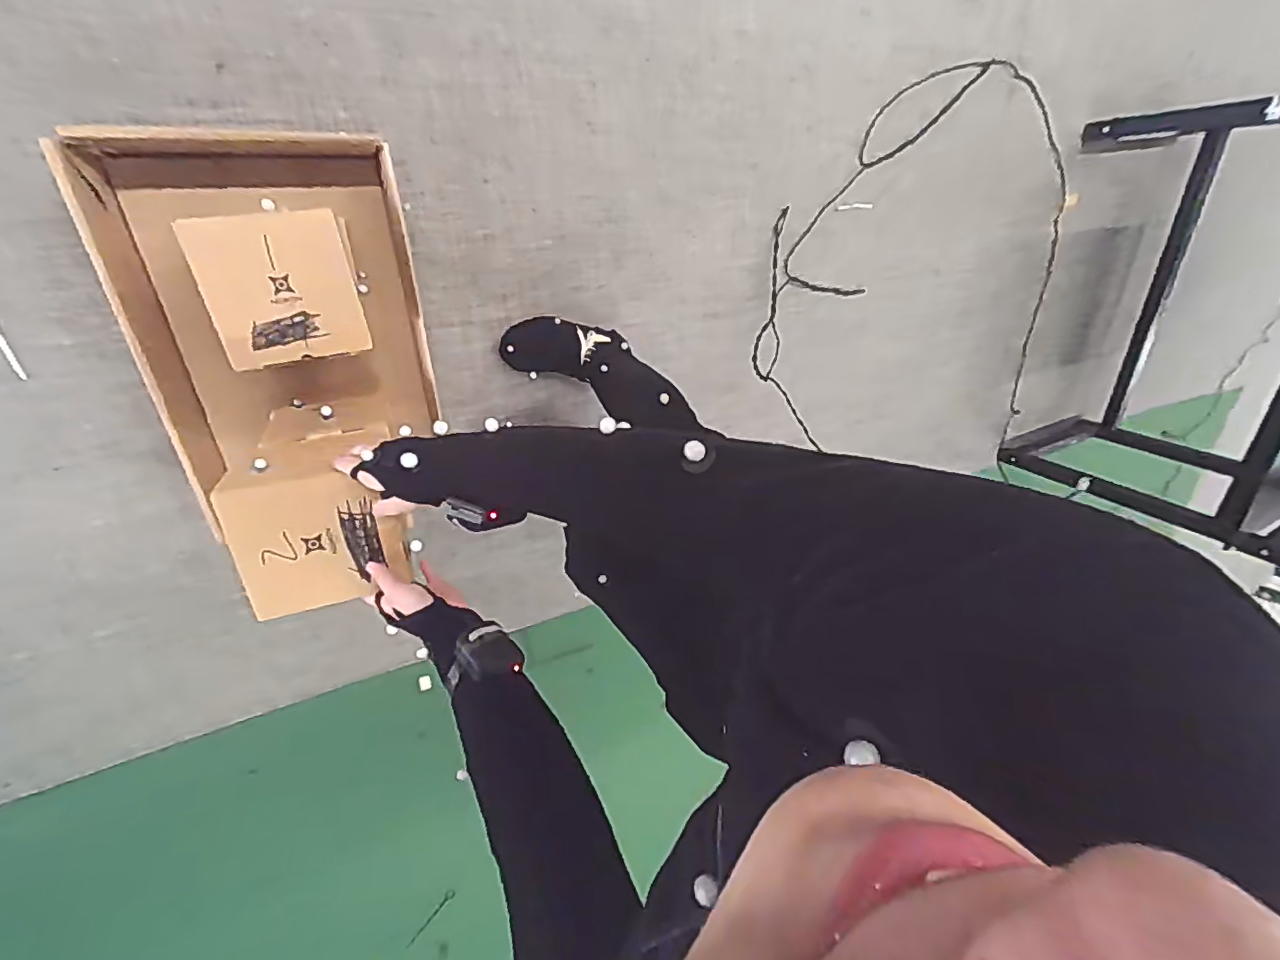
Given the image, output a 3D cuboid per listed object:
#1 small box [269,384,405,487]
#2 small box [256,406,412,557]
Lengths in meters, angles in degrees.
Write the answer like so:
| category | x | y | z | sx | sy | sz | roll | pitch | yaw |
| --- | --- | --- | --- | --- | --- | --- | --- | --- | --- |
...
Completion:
| category | x | y | z | sx | sy | sz | roll | pitch | yaw |
| --- | --- | --- | --- | --- | --- | --- | --- | --- | --- |
| small box | -0.540 | -0.069 | 0.979 | 0.179 | 0.176 | 0.168 | -12 | 117 | -22 |
| small box | -0.467 | -0.011 | 0.845 | 0.168 | 0.176 | 0.179 | -14 | 116 | -21 |
